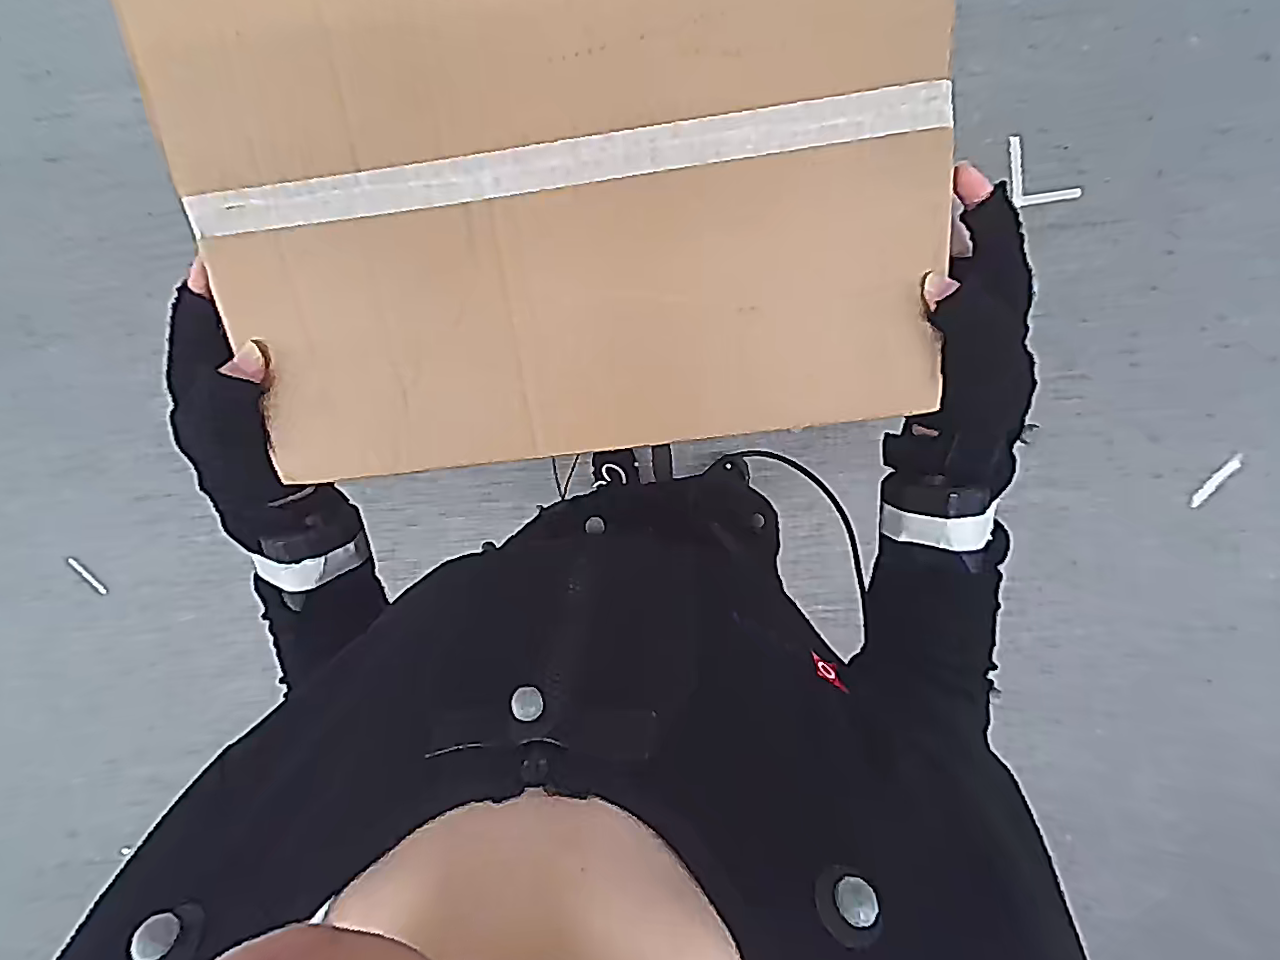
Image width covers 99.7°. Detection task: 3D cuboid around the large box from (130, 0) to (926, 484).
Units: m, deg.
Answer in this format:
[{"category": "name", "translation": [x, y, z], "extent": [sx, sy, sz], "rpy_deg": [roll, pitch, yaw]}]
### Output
[{"category": "large box", "translation": [-0.043, -0.212, 0.436], "extent": [0.408, 0.320, 0.320], "rpy_deg": [-6, 107, 4]}]
